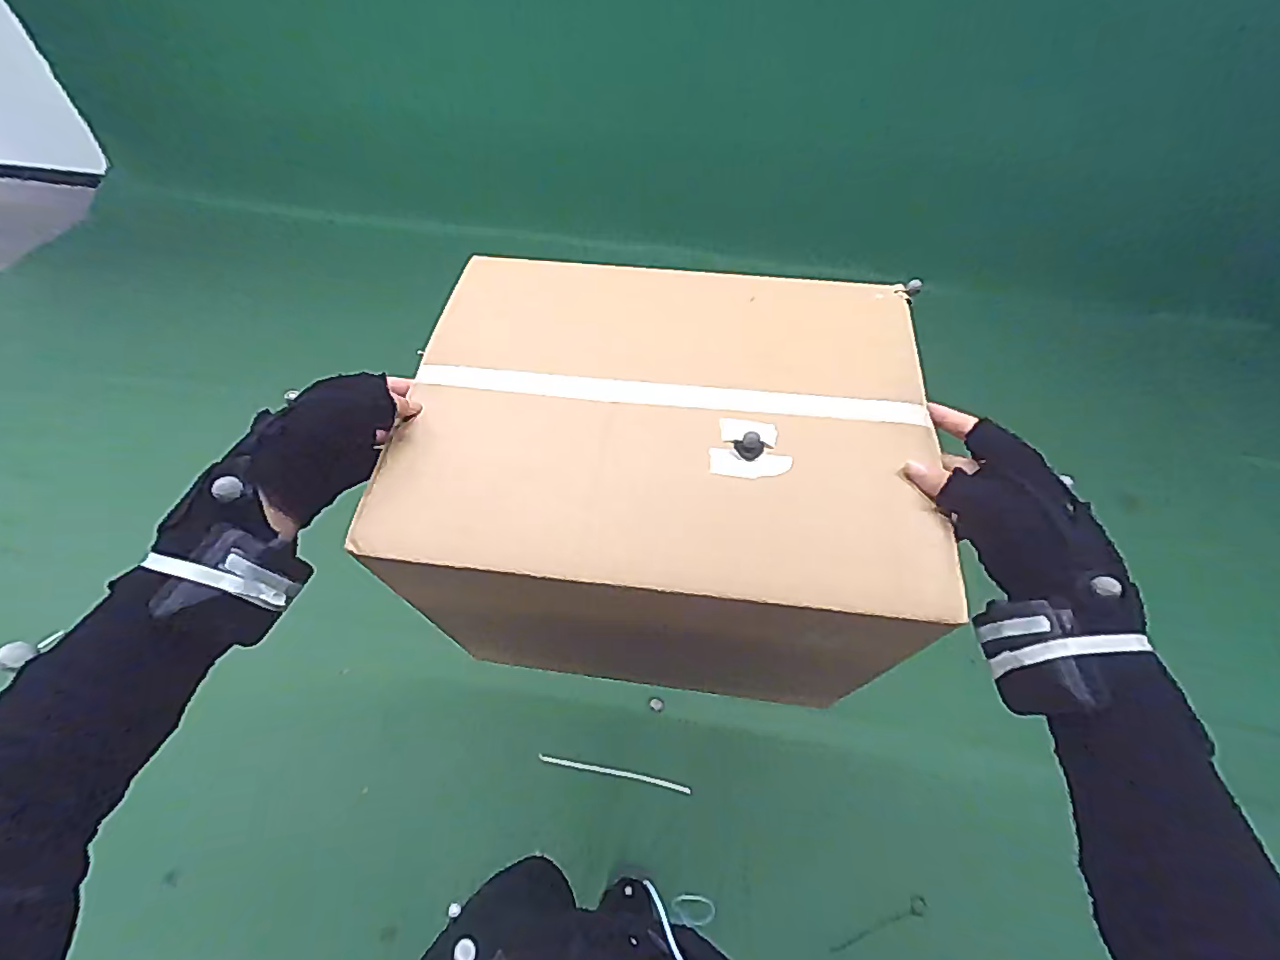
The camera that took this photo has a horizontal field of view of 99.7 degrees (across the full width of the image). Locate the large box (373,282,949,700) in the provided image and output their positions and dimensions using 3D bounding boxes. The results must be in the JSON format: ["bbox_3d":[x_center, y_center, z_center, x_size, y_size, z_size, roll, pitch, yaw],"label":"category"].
[{"bbox_3d":[0.024,0.024,0.569,0.408,0.320,0.320,5,59,5],"label":"large box"}]
